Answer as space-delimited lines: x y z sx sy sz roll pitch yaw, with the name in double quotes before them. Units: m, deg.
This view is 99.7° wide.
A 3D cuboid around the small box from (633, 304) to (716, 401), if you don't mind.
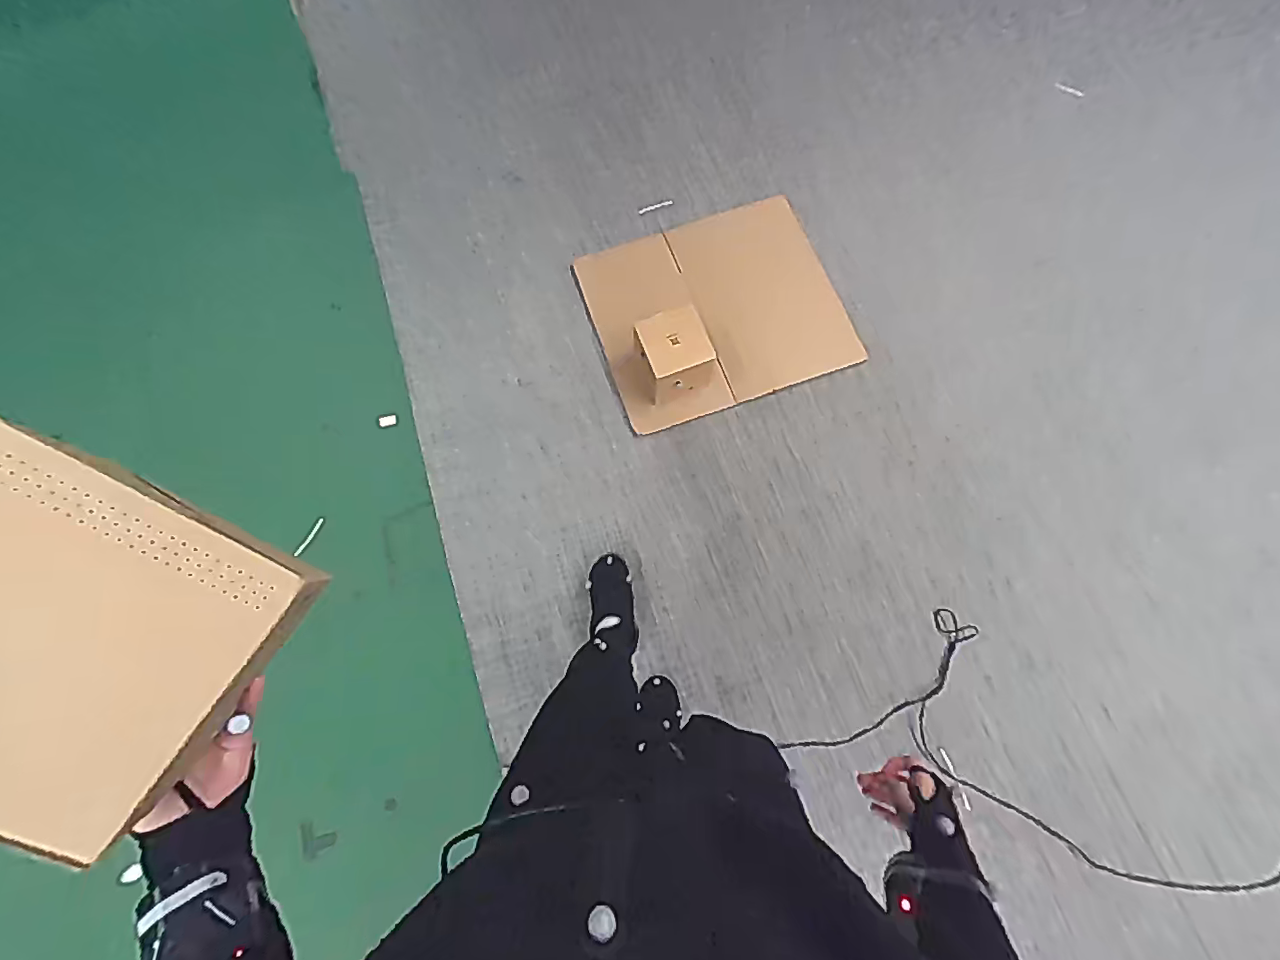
"small box" 0.091 -0.329 1.447 0.168 0.176 0.179 -21 74 -4
